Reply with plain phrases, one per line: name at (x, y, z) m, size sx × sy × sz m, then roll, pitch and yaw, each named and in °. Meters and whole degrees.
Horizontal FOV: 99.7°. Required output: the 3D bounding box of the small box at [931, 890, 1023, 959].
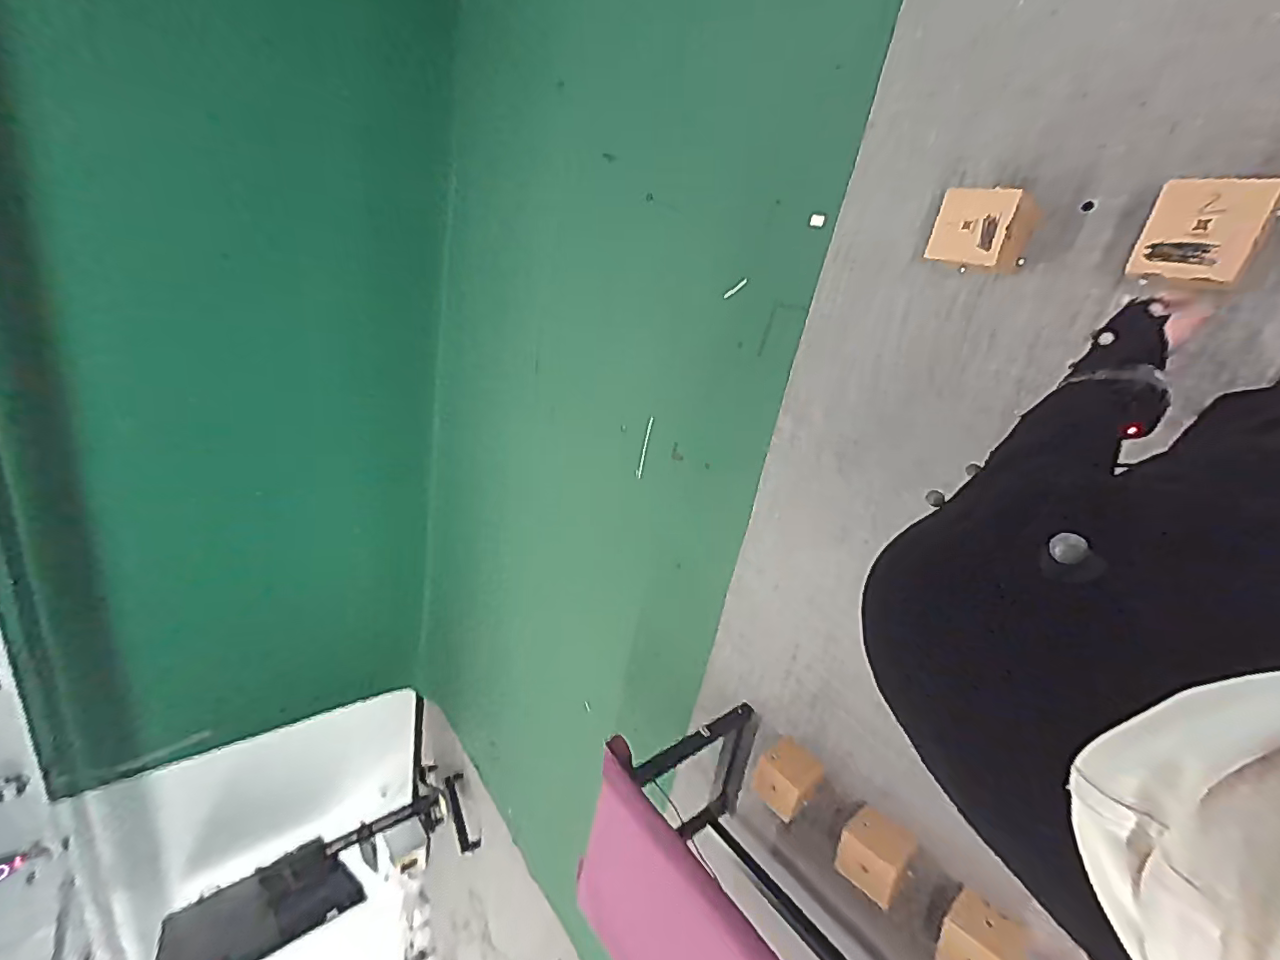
small box at (0.947, 1.318, 1.519) m, size 0.168 × 0.176 × 0.179 m, roll 19°, pitch 110°, yaw 46°

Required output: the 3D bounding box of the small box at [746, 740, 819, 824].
small box at (0.522, 1.094, 1.975) m, size 0.179 × 0.176 × 0.168 m, roll 31°, pitch 118°, yaw 43°

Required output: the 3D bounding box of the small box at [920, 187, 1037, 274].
small box at (0.849, -0.620, 1.351) m, size 0.179 × 0.176 × 0.168 m, roll 32°, pitch 118°, yaw 43°

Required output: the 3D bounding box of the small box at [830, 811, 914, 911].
small box at (0.744, 1.207, 1.737) m, size 0.179 × 0.176 × 0.168 m, roll 22°, pitch 112°, yaw 44°
